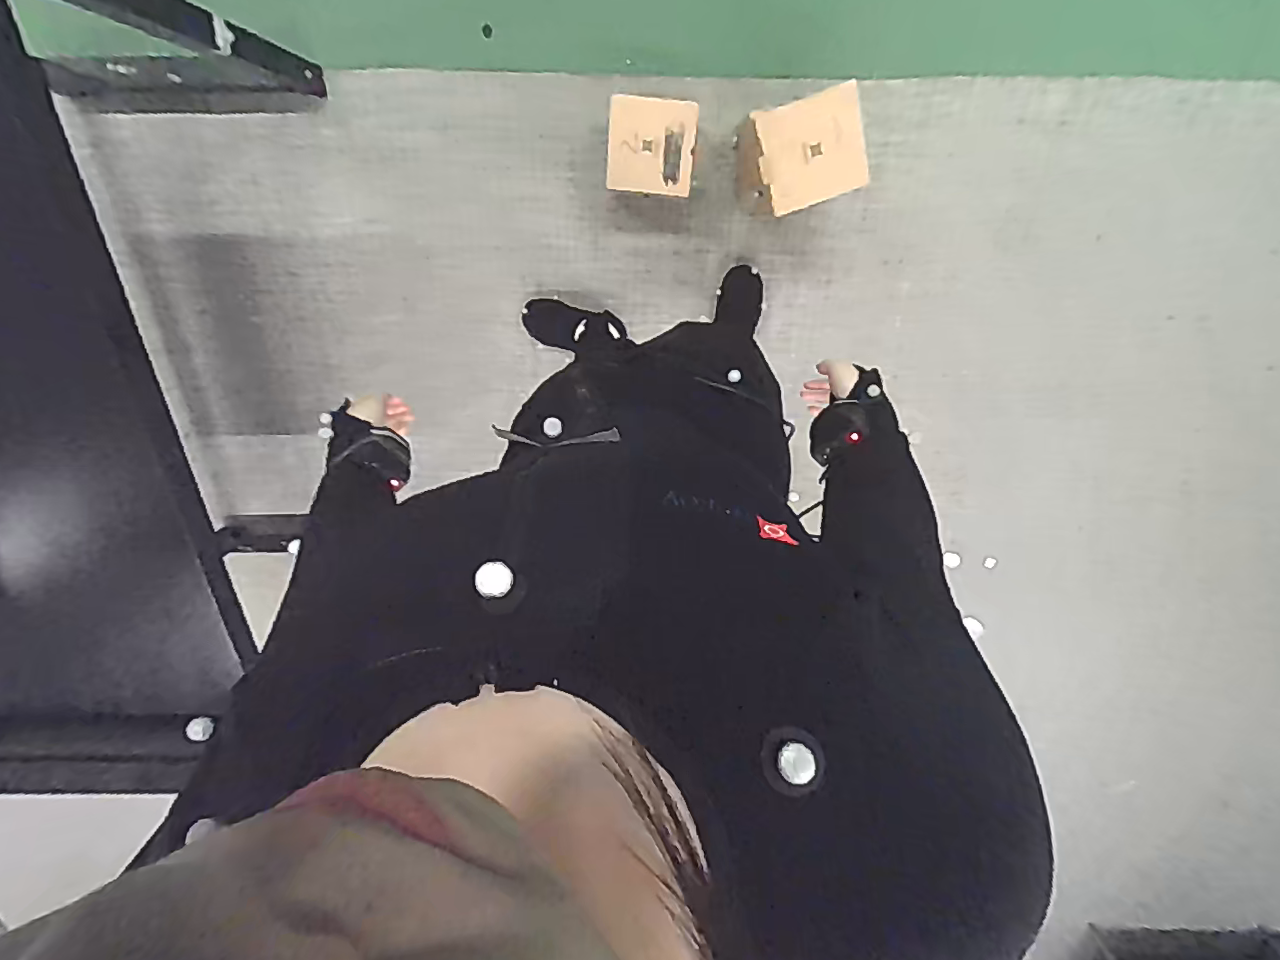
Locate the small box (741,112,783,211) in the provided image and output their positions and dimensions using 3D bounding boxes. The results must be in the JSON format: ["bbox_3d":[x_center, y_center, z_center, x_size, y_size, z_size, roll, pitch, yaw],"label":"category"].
[{"bbox_3d":[0.311,-0.671,1.145,0.179,0.176,0.168,-6,115,2],"label":"small box"}]

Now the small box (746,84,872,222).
[{"bbox_3d":[0.303,-0.592,1.003,0.179,0.176,0.168,-18,116,8],"label":"small box"}]
